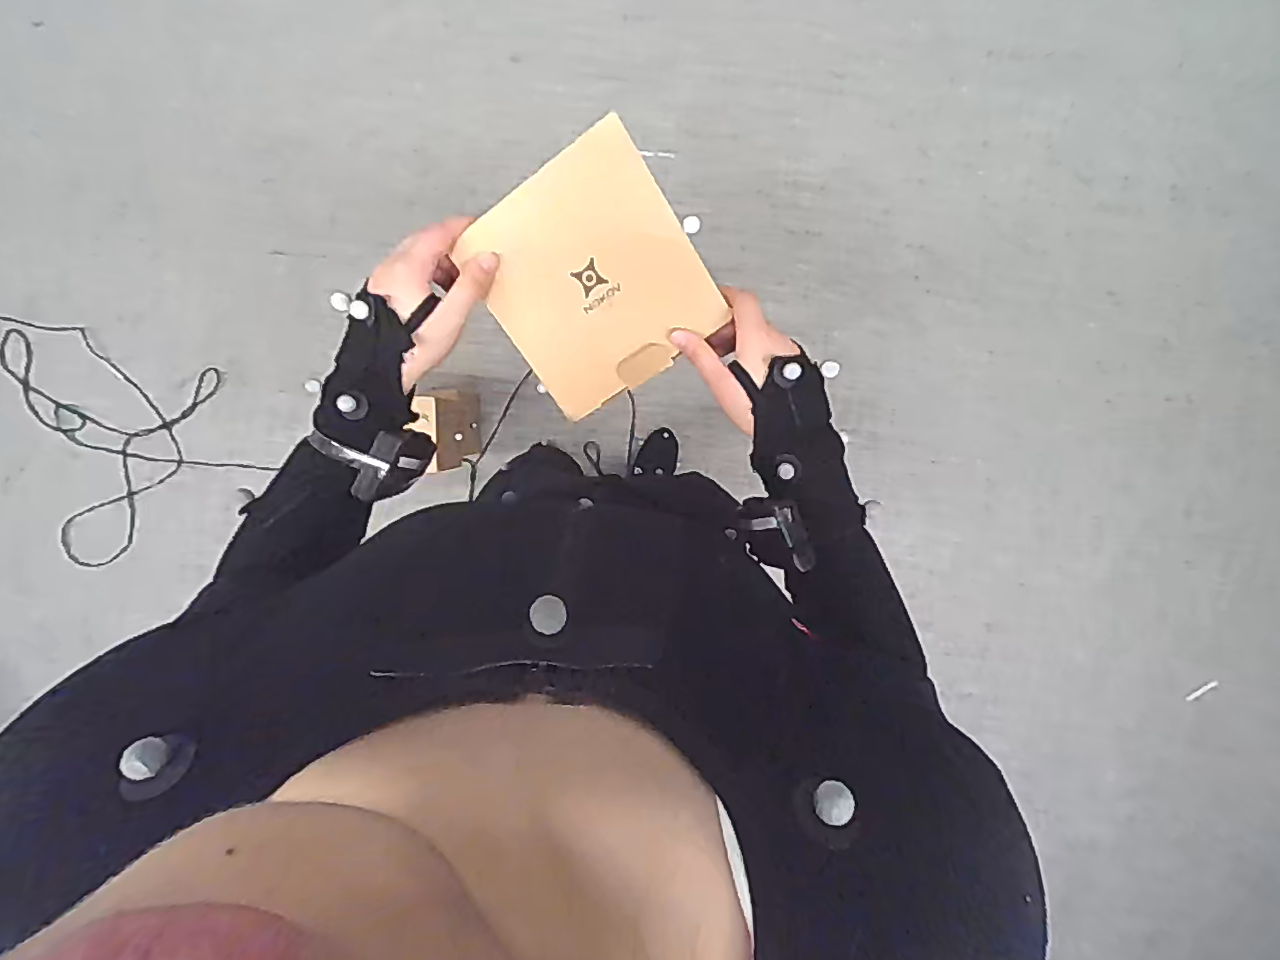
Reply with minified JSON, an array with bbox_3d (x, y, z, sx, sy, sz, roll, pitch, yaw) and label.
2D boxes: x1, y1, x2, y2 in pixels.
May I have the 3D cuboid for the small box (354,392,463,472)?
[{"bbox_3d":[-0.516,-0.110,1.223,0.179,0.176,0.168,1,97,0],"label":"small box"}]

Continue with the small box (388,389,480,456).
[{"bbox_3d":[-0.518,-0.146,1.384,0.179,0.176,0.168,-3,96,1],"label":"small box"}]
